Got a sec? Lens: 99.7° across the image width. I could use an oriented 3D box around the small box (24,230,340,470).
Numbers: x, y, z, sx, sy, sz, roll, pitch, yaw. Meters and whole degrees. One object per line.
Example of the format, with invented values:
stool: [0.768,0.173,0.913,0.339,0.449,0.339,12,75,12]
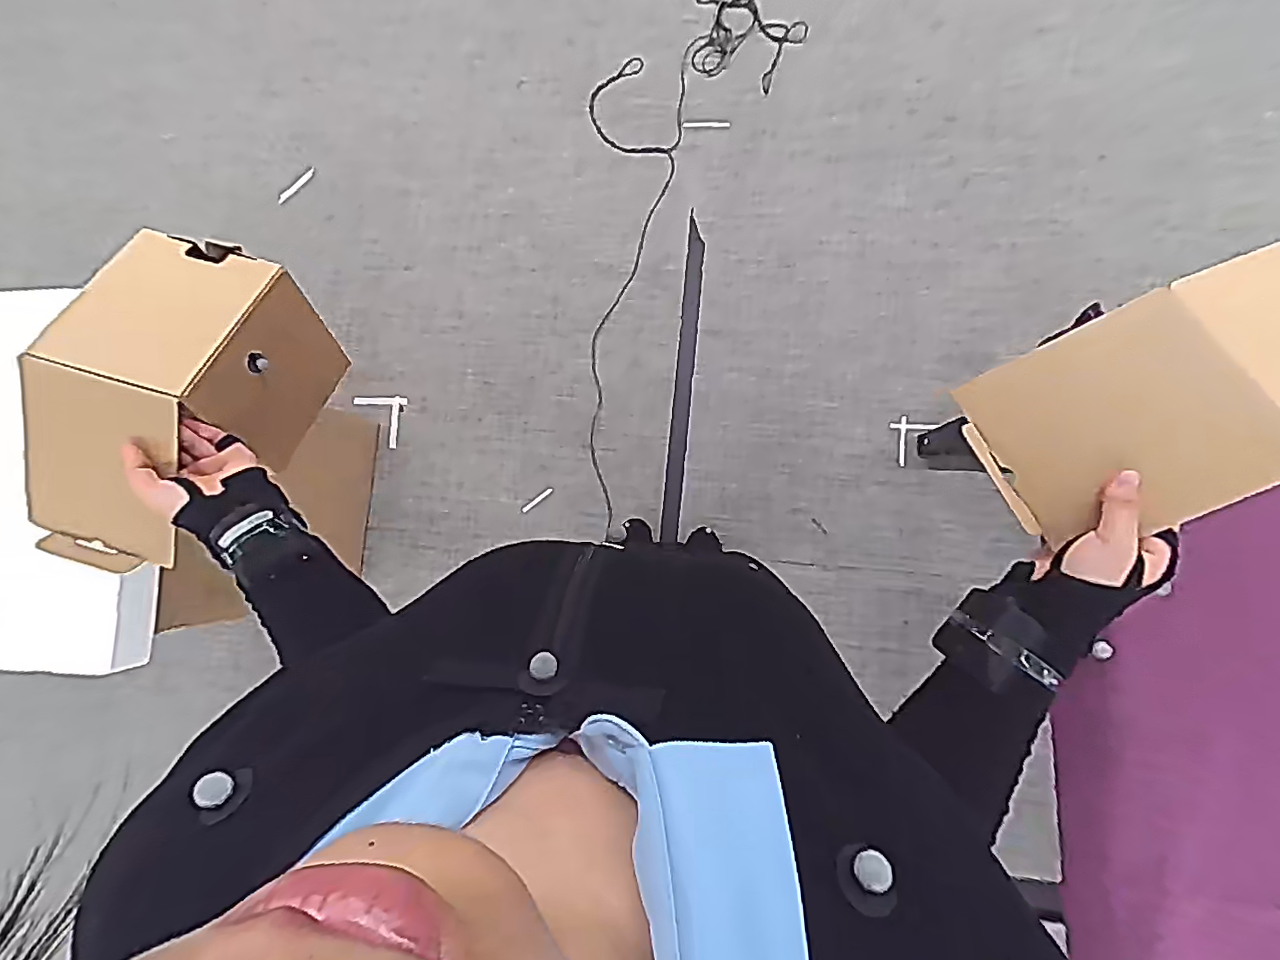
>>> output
small box: [-0.475,-0.134,0.602,0.168,0.176,0.179,16,64,3]
